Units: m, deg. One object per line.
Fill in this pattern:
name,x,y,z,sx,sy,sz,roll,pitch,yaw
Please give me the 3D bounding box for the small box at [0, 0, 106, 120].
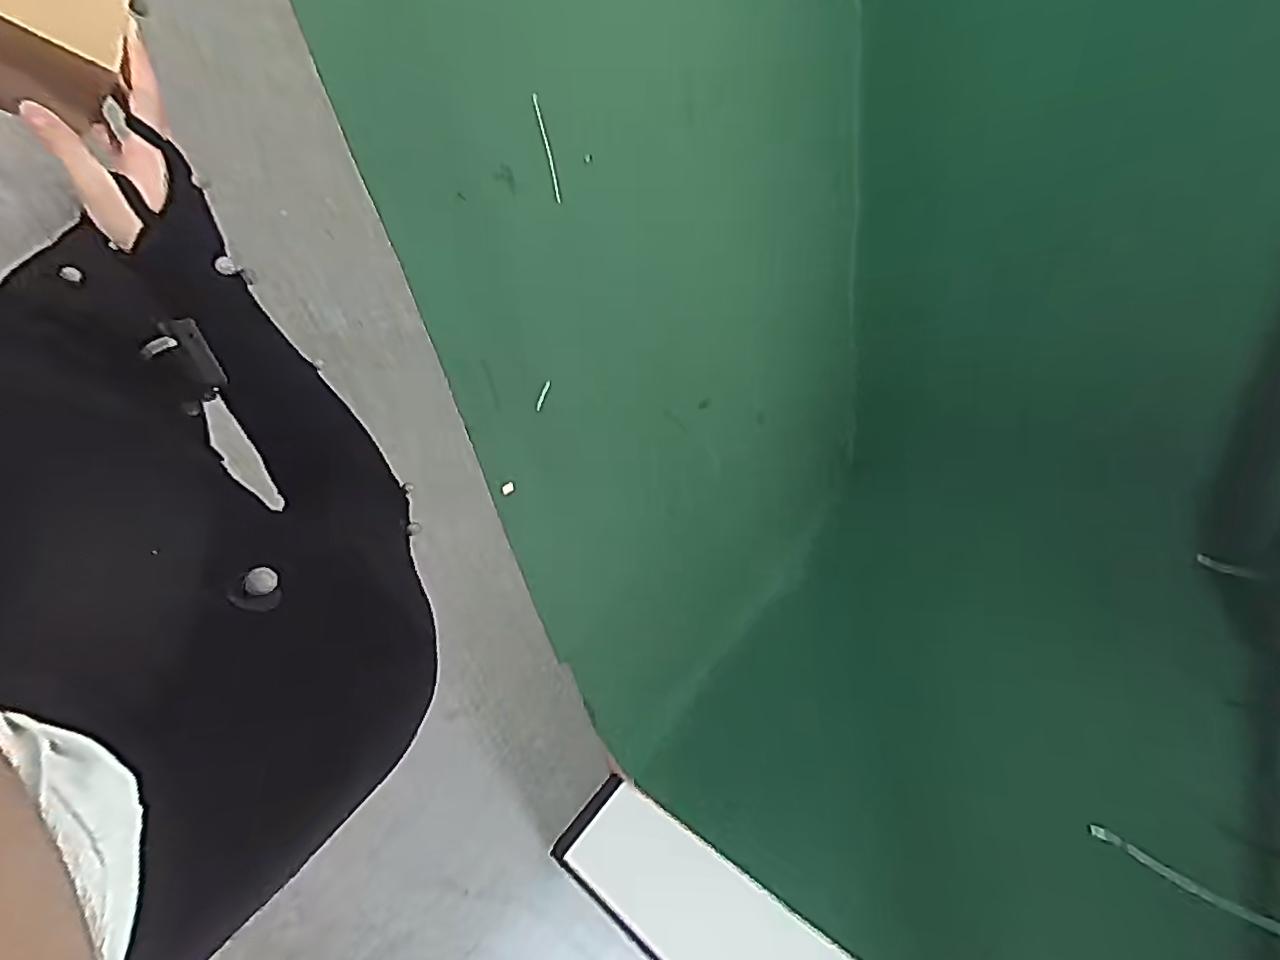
small box,-0.479,-0.390,0.363,0.168,0.176,0.179,7,89,-53
